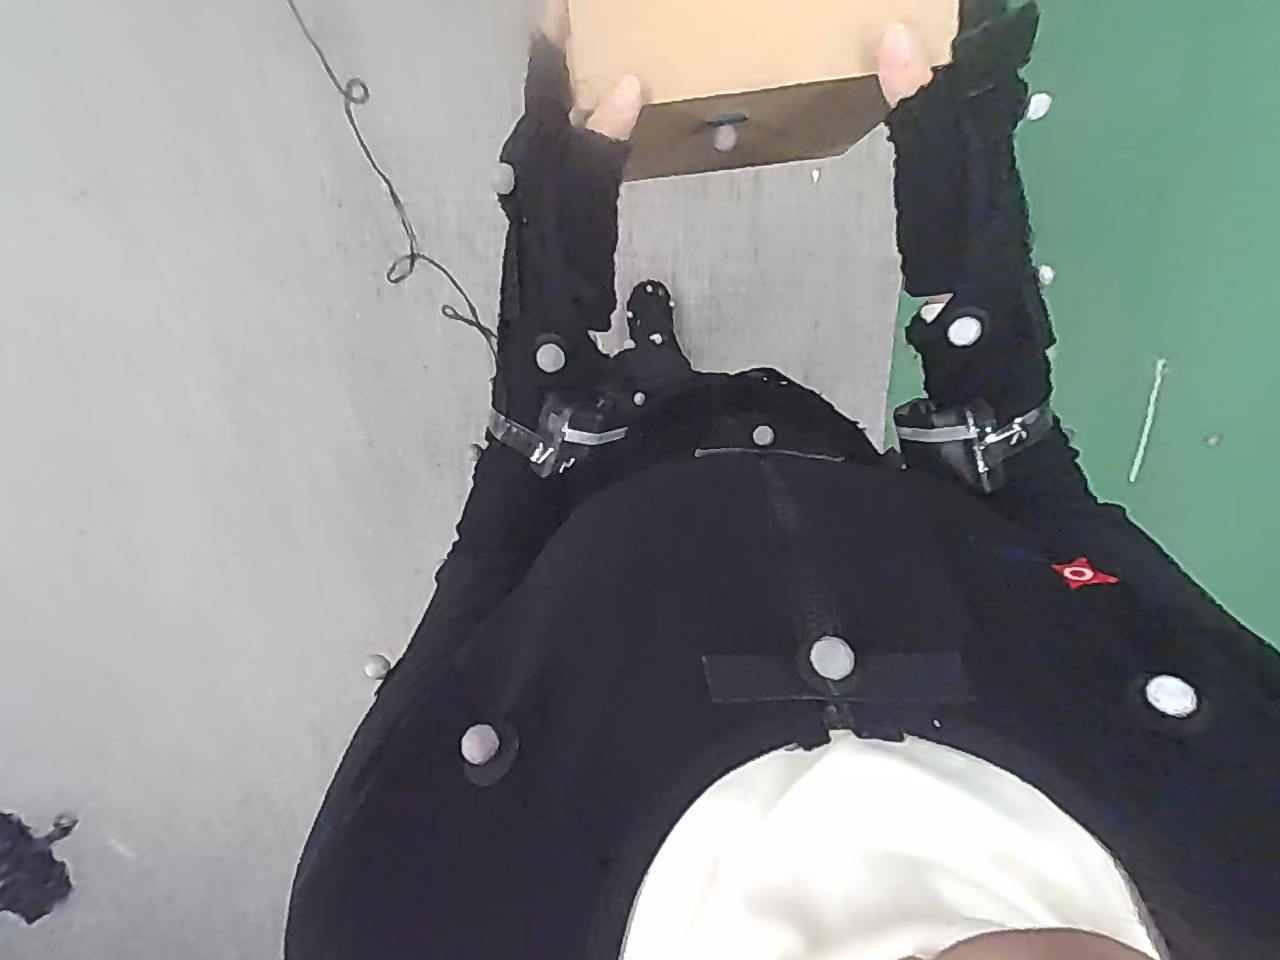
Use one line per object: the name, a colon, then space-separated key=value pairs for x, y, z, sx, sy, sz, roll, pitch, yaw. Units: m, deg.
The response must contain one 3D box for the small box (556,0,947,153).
small box: x=0.048 y=-0.299 z=0.300 sx=0.179 sy=0.176 sz=0.168 roll=-4 pitch=109 yaw=4
